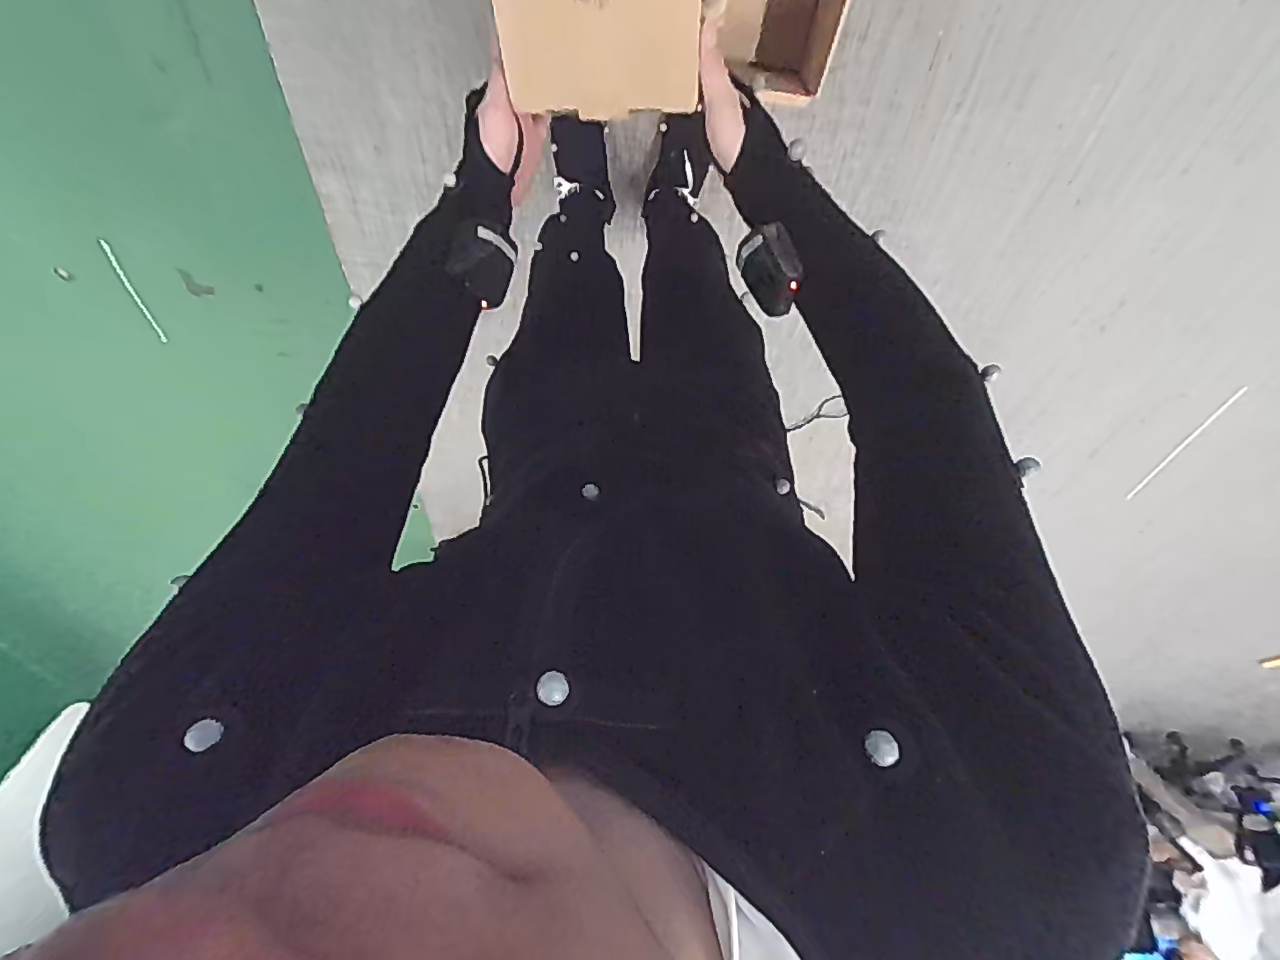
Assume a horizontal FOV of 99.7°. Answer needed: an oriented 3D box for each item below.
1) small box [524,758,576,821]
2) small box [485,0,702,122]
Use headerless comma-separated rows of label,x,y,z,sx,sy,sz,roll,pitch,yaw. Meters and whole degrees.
small box,-0.341,1.191,2.083,0.168,0.176,0.179,5,137,2
small box,-0.031,-0.432,0.465,0.168,0.176,0.179,2,135,6
